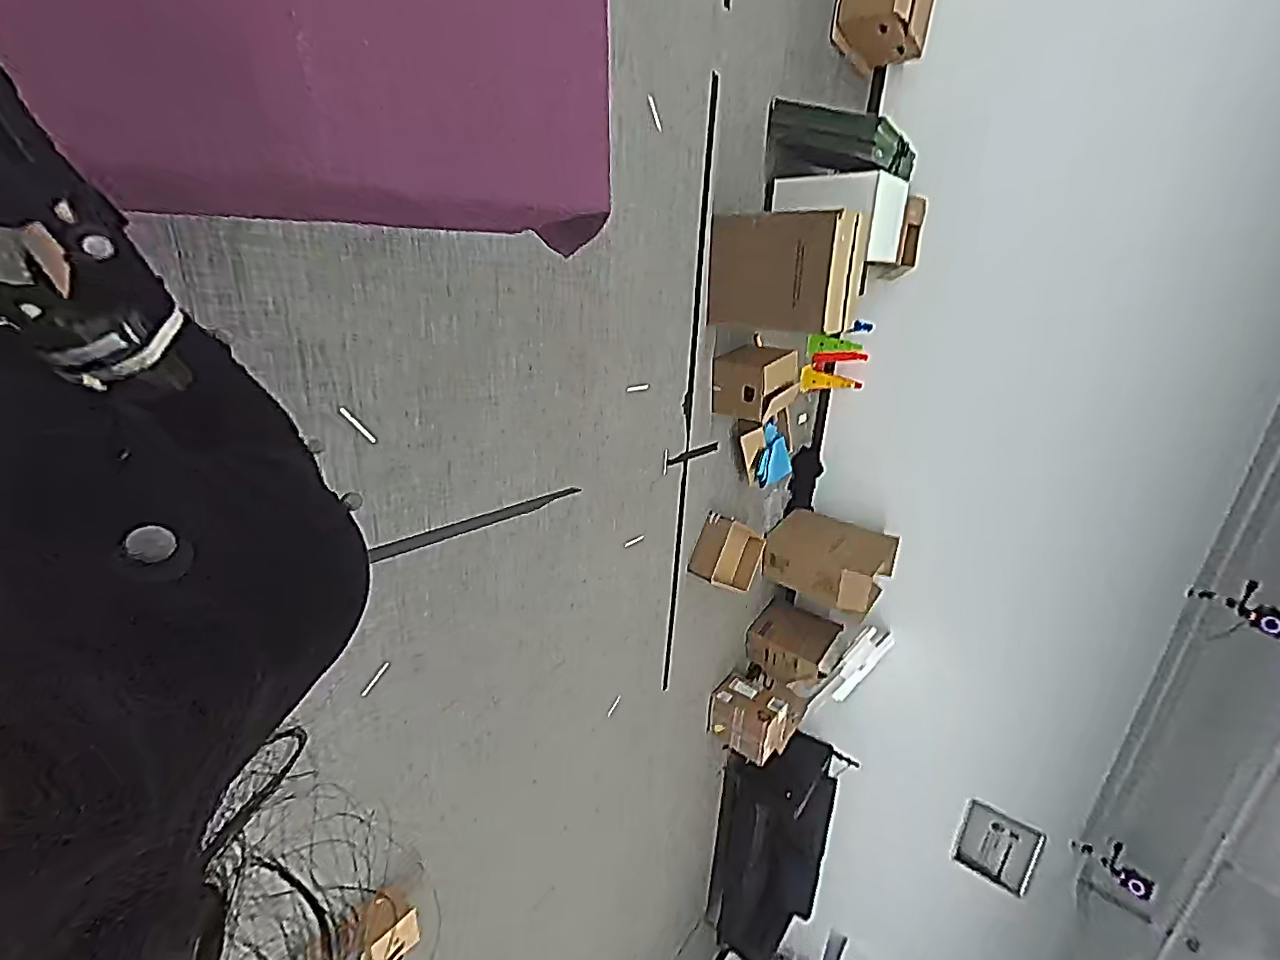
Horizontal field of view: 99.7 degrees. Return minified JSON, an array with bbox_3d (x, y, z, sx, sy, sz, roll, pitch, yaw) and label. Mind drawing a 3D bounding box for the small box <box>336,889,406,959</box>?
[{"bbox_3d":[-0.978,1.654,1.968,0.168,0.176,0.179,-22,121,-49],"label":"small box"}]
